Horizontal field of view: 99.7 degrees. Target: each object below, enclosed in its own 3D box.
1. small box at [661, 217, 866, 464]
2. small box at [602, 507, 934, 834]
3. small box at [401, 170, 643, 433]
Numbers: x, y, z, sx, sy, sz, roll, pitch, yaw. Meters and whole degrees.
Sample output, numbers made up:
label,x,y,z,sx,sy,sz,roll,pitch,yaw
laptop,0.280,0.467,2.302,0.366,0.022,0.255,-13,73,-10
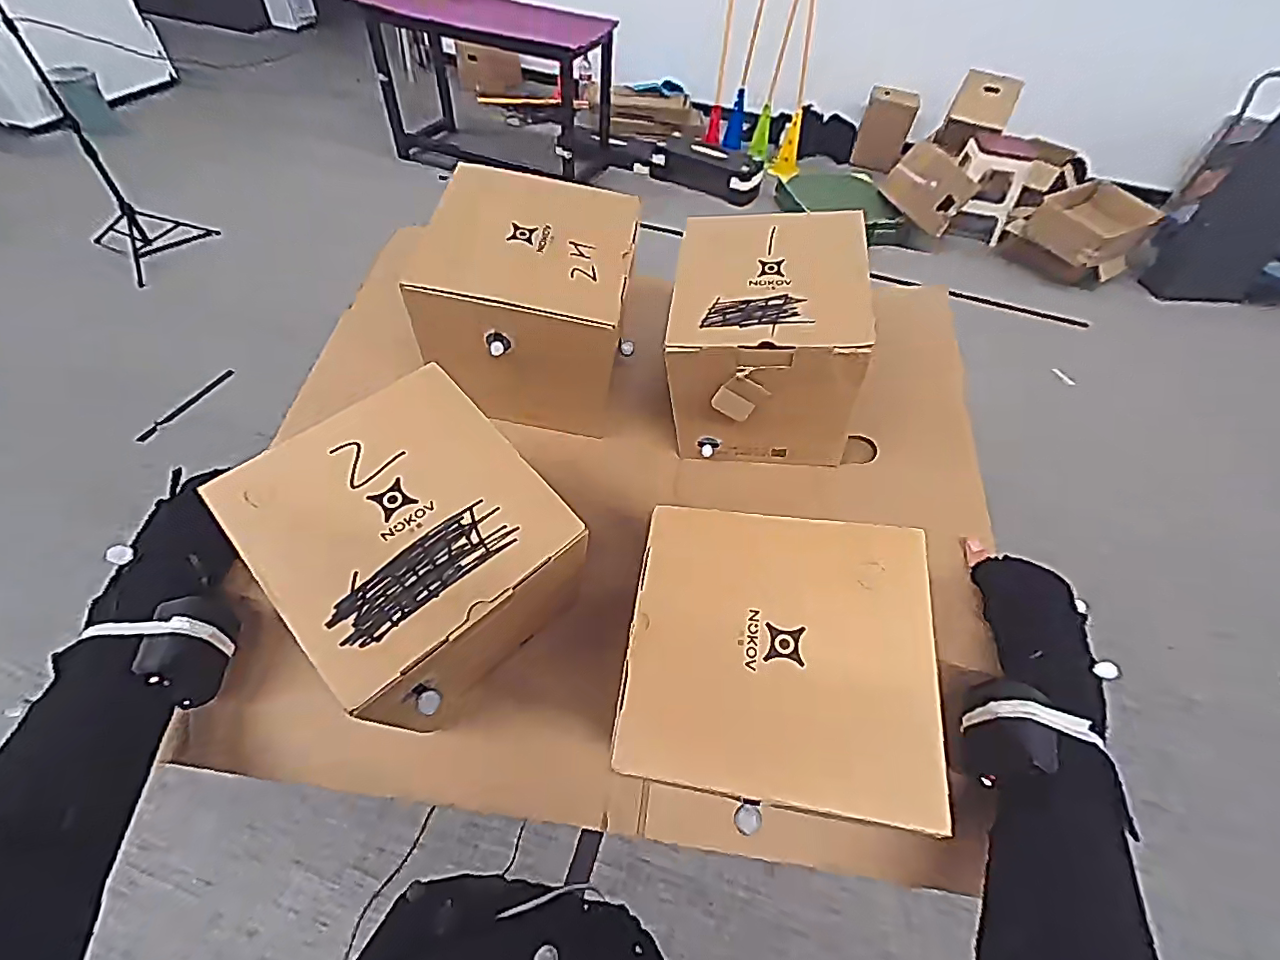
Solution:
label,x,y,z,sx,sy,sz,roll,pitch,yaw
small box,0.122,-0.132,0.541,0.168,0.176,0.179,4,59,12
small box,0.089,0.136,0.391,0.179,0.176,0.168,5,61,13
small box,-0.104,-0.166,0.539,0.179,0.176,0.168,11,61,-3
